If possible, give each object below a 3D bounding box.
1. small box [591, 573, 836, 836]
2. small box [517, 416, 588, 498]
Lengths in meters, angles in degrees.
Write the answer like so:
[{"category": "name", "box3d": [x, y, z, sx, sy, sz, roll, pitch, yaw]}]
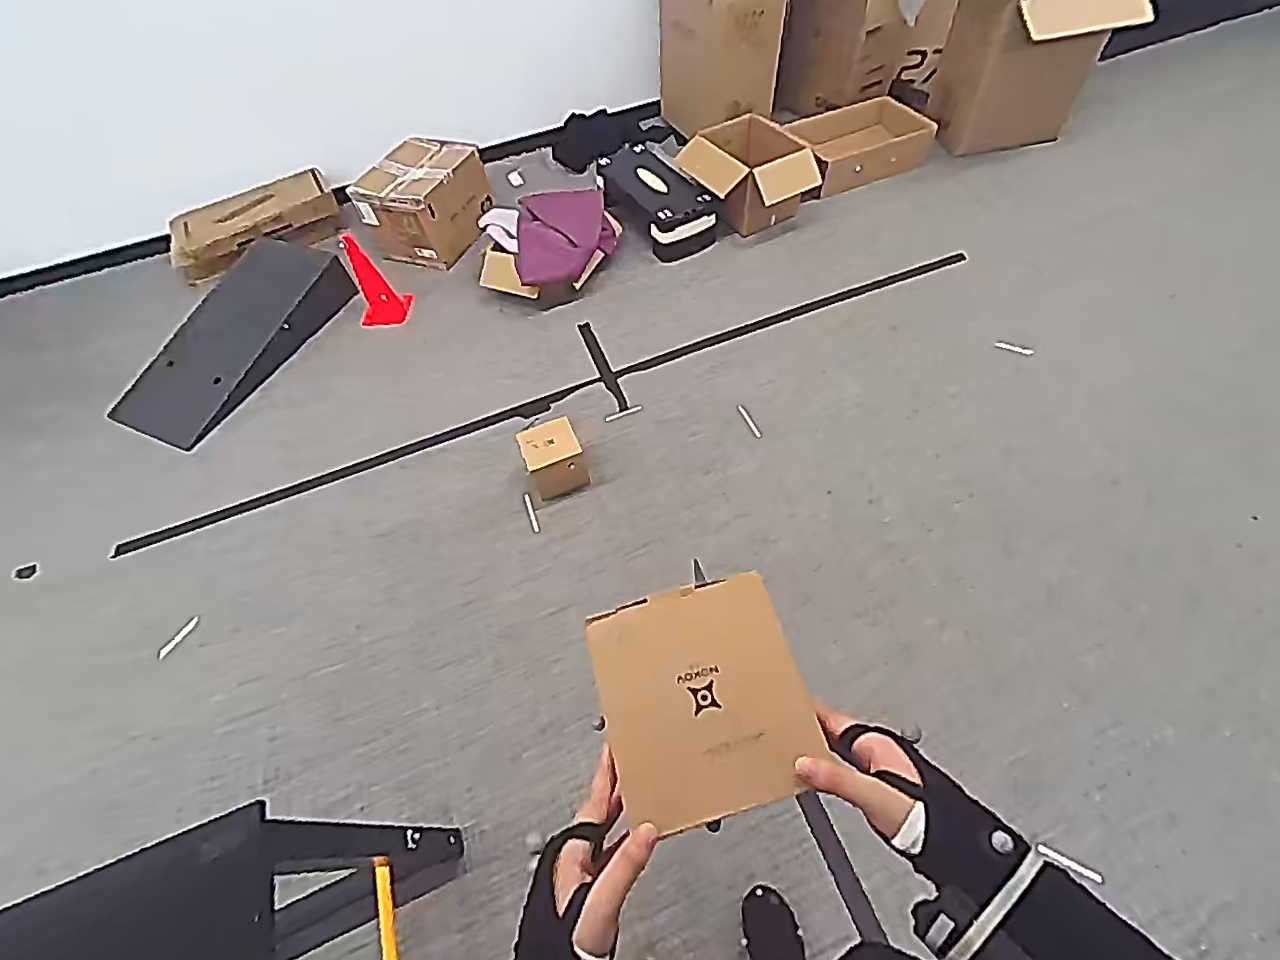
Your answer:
[{"category": "small box", "box3d": [0.055, 0.214, 0.518, 0.168, 0.176, 0.179, -14, 62, -6]}, {"category": "small box", "box3d": [-0.277, -0.072, 1.750, 0.179, 0.176, 0.168, -22, 57, -8]}]
